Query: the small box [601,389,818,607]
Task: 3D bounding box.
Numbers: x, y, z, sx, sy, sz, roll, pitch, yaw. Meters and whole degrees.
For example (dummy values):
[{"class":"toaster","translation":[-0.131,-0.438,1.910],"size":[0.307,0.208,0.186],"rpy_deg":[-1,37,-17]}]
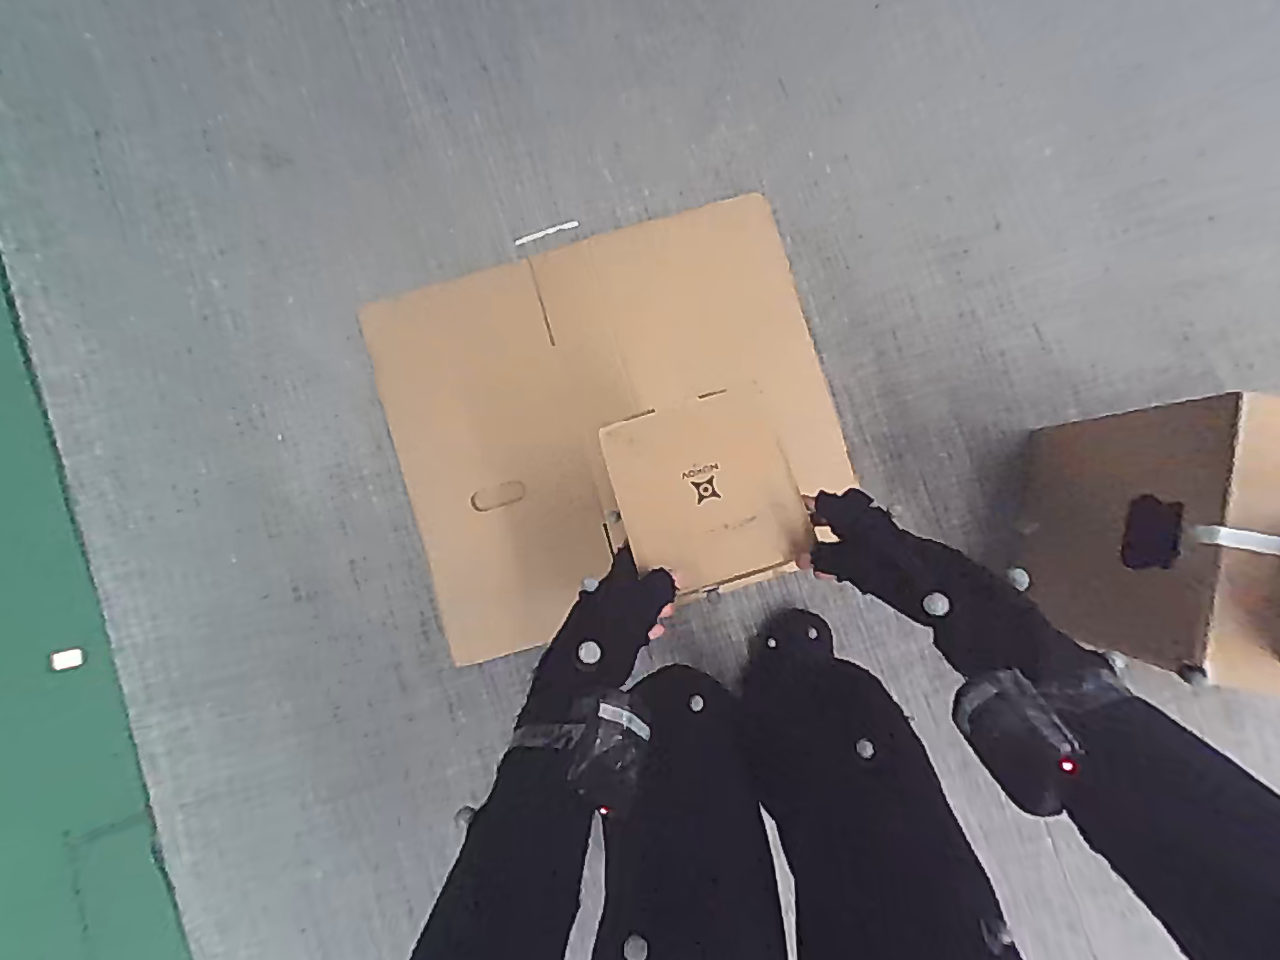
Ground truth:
[{"class":"small box","translation":[0.065,0.031,0.592],"size":[0.168,0.176,0.179],"rpy_deg":[-19,76,-1]}]
